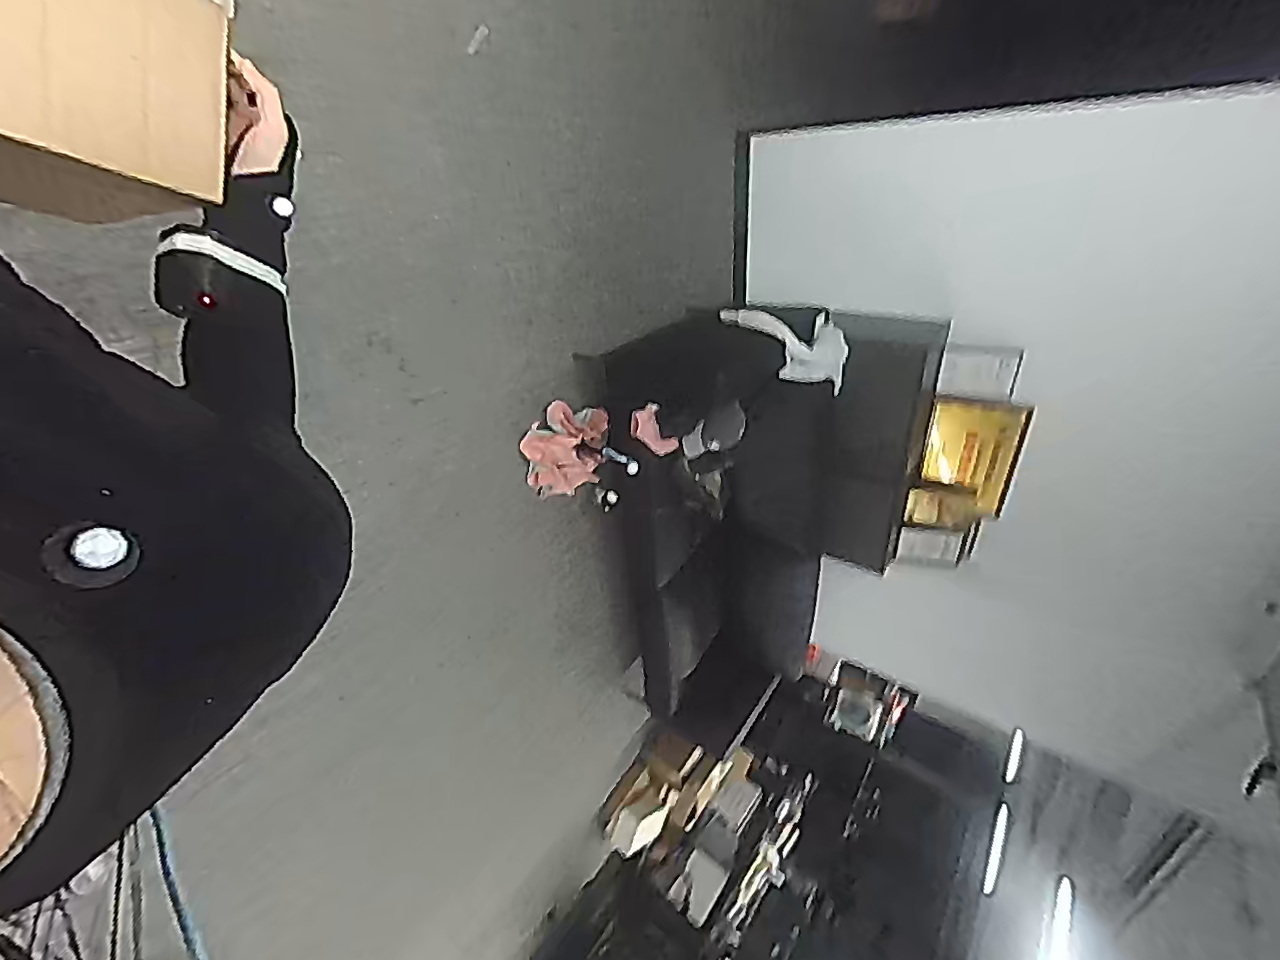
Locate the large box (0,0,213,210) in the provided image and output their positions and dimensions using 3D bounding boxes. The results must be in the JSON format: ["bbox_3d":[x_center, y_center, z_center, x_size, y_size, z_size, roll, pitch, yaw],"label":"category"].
[{"bbox_3d":[-0.575,-0.398,0.341,0.408,0.320,0.320,-9,108,-57],"label":"large box"}]
